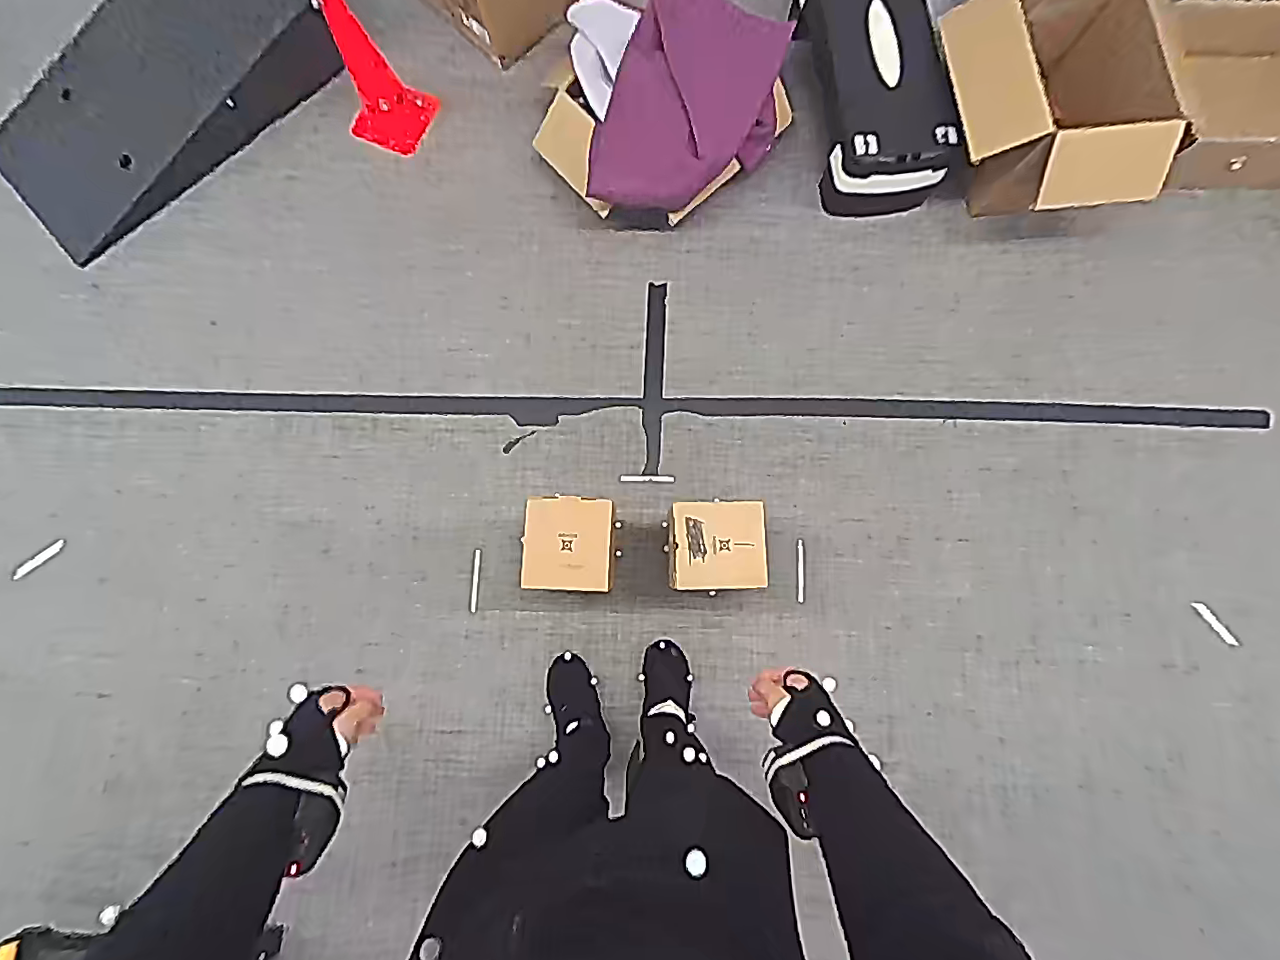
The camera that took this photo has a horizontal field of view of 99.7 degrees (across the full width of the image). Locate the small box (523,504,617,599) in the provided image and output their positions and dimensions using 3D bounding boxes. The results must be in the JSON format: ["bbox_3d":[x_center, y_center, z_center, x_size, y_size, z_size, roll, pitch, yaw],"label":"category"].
[{"bbox_3d":[-0.135,0.147,1.107,0.168,0.176,0.179,1,82,1],"label":"small box"}]

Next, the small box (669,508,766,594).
[{"bbox_3d":[0.149,0.149,1.107,0.179,0.176,0.168,-1,81,-2],"label":"small box"}]
